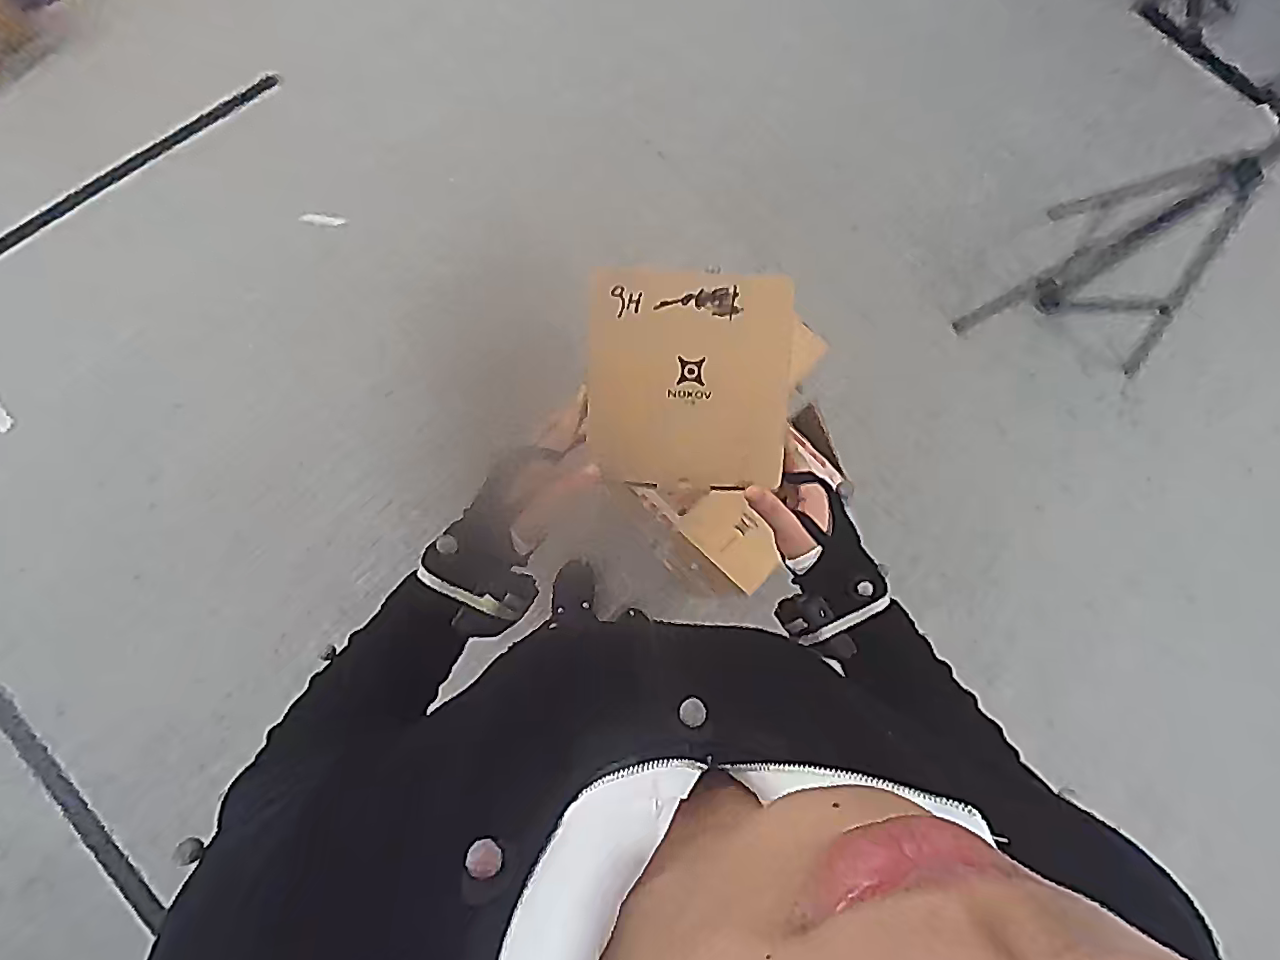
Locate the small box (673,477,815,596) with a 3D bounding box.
[{"bbox_3d":[0.176,0.090,0.980,0.168,0.176,0.179,44,81,6],"label":"small box"}]

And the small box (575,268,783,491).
[{"bbox_3d":[0.027,-0.089,0.518,0.168,0.176,0.179,1,97,-3],"label":"small box"}]

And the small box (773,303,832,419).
[{"bbox_3d":[0.164,-0.172,0.866,0.168,0.176,0.179,44,81,8],"label":"small box"}]
